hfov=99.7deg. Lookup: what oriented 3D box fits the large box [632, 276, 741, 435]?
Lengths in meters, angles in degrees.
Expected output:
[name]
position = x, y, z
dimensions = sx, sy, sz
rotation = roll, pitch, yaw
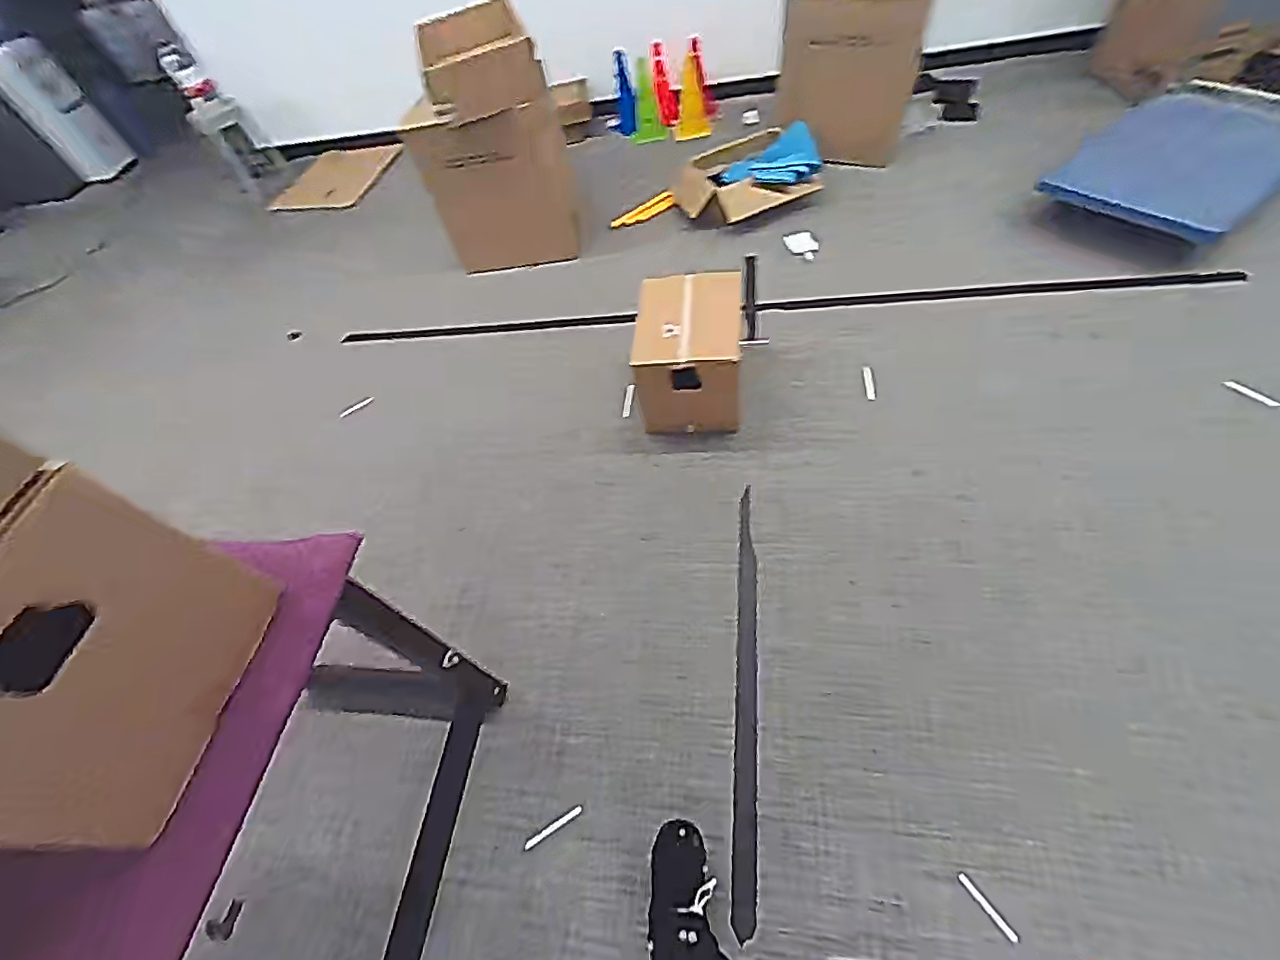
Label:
[large box]
position = 0.163, -0.400, 1.755
dimensions = 0.320, 0.320, 0.408
rotation = -2, 56, 11
